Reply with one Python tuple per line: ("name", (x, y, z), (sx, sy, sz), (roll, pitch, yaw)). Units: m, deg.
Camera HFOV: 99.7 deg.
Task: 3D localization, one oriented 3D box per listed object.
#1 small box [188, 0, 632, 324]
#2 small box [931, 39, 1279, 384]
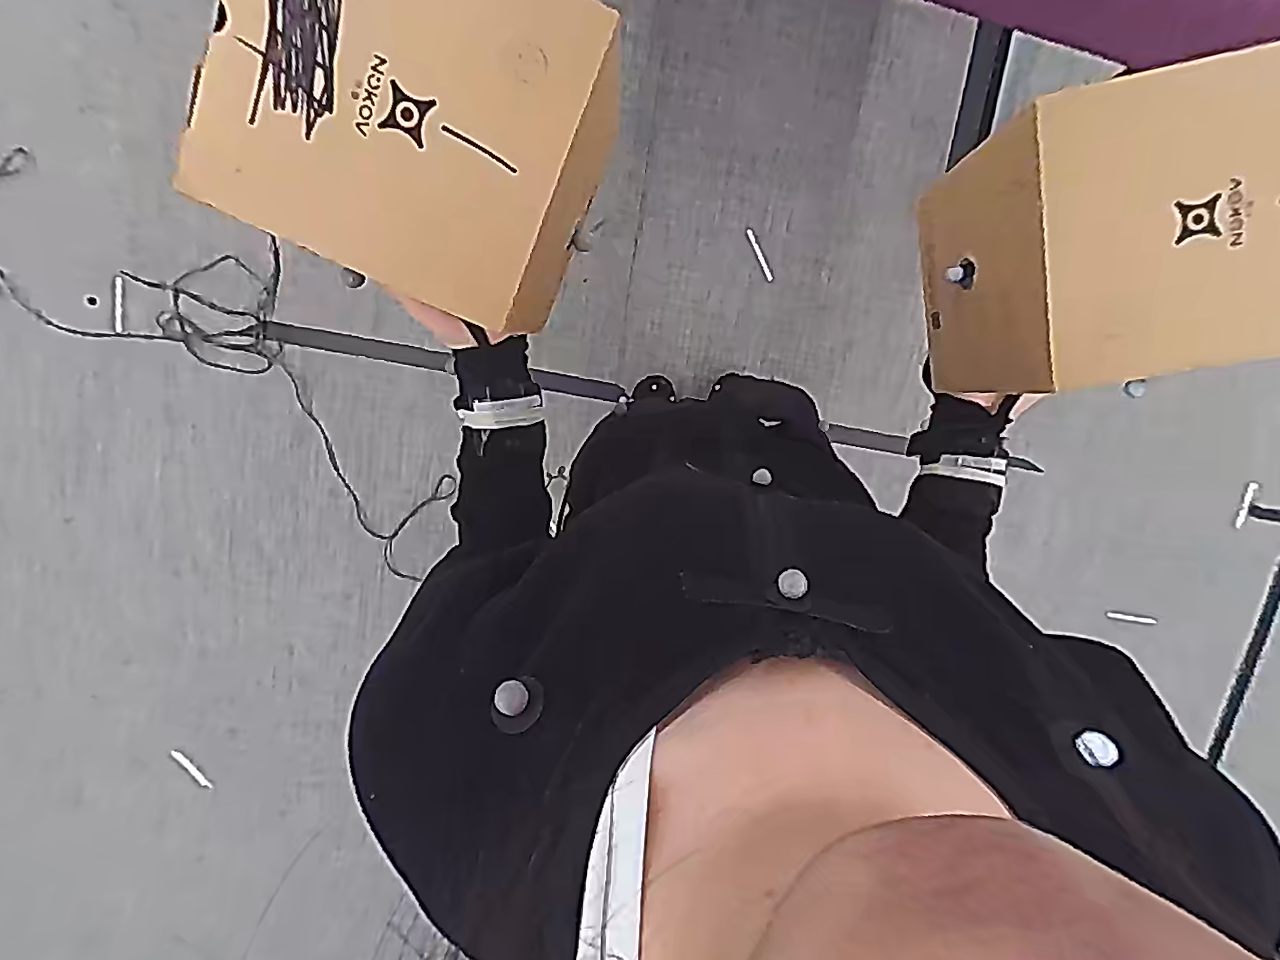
("small box", (-0.119, -0.208, 0.341), (0.179, 0.176, 0.168), (23, 104, -9))
("small box", (0.325, -0.161, 0.379), (0.179, 0.176, 0.168), (-9, 99, 7))
